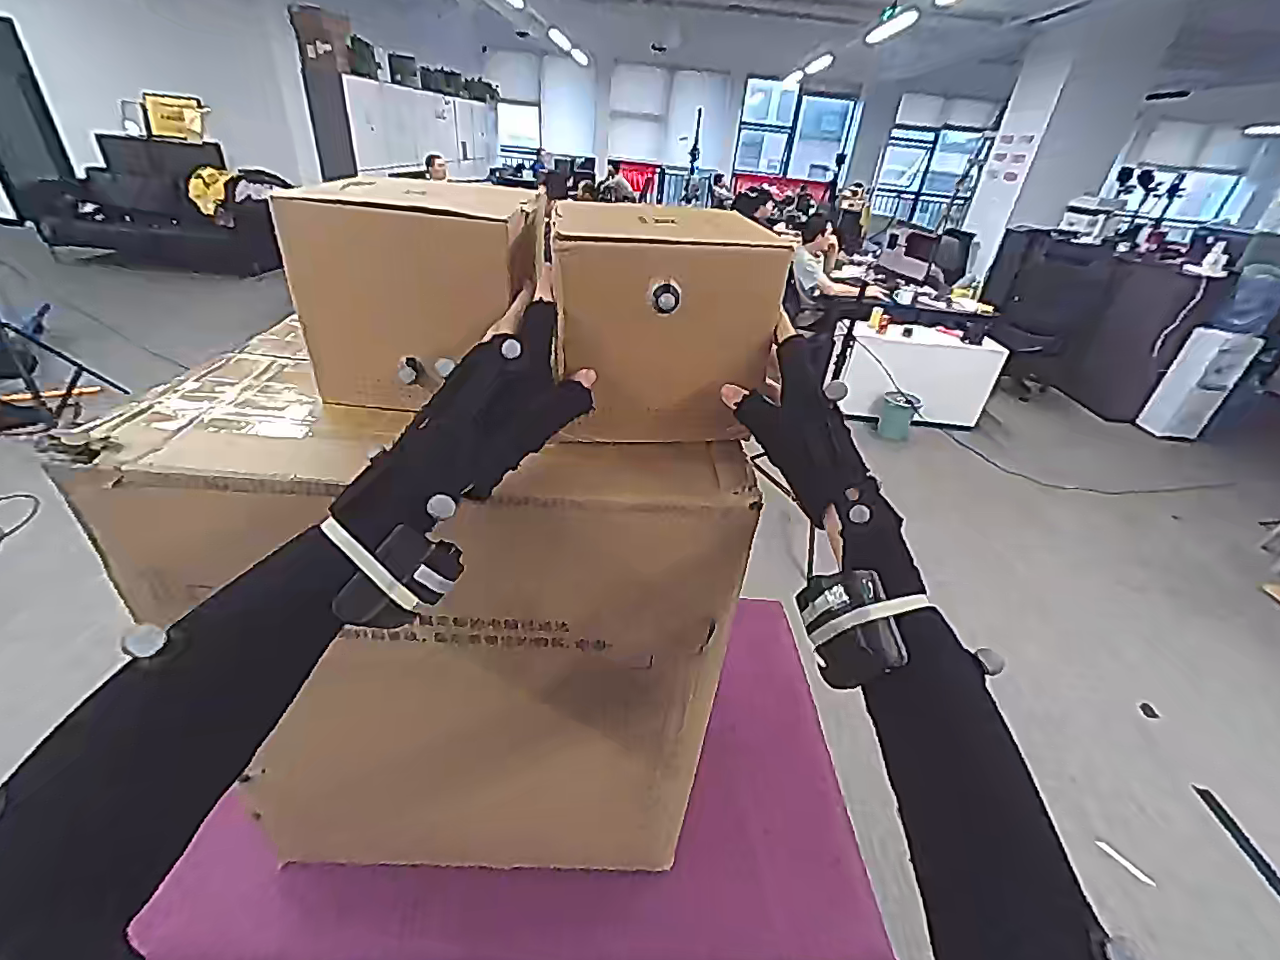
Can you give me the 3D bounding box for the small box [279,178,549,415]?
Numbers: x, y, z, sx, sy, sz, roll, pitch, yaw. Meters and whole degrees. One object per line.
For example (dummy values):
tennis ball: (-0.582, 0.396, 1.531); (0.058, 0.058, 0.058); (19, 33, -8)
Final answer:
small box: (-0.188, -0.174, 0.510); (0.179, 0.176, 0.168); (6, 32, -2)
